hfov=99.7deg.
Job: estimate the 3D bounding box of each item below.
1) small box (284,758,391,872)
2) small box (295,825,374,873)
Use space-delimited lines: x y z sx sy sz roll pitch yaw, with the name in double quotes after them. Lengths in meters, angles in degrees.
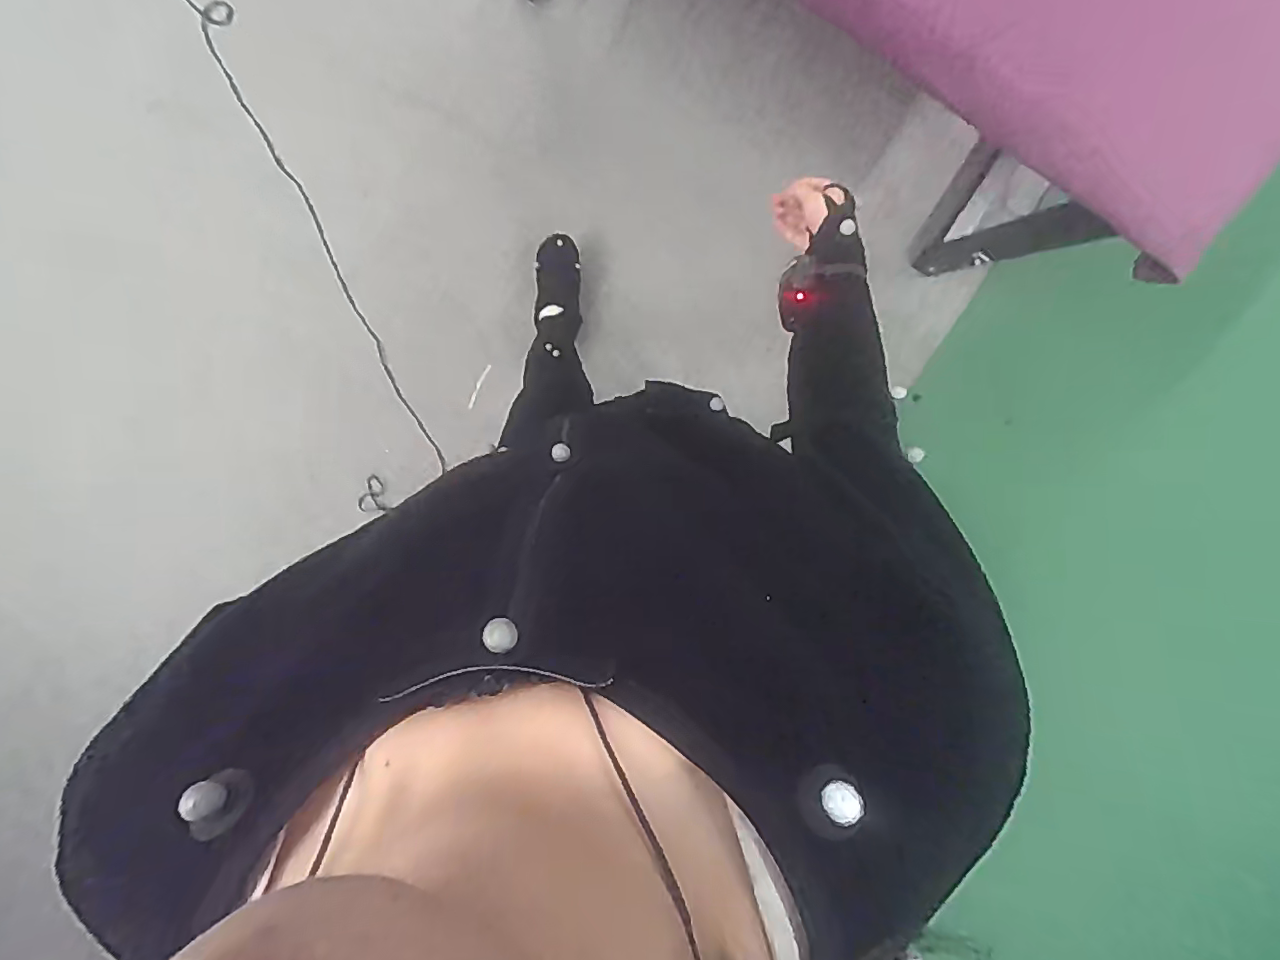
-0.831 0.925 1.508 0.168 0.176 0.179 38 102 -7 "small box"
-0.961 1.101 1.730 0.179 0.176 0.168 15 105 -1 "small box"
